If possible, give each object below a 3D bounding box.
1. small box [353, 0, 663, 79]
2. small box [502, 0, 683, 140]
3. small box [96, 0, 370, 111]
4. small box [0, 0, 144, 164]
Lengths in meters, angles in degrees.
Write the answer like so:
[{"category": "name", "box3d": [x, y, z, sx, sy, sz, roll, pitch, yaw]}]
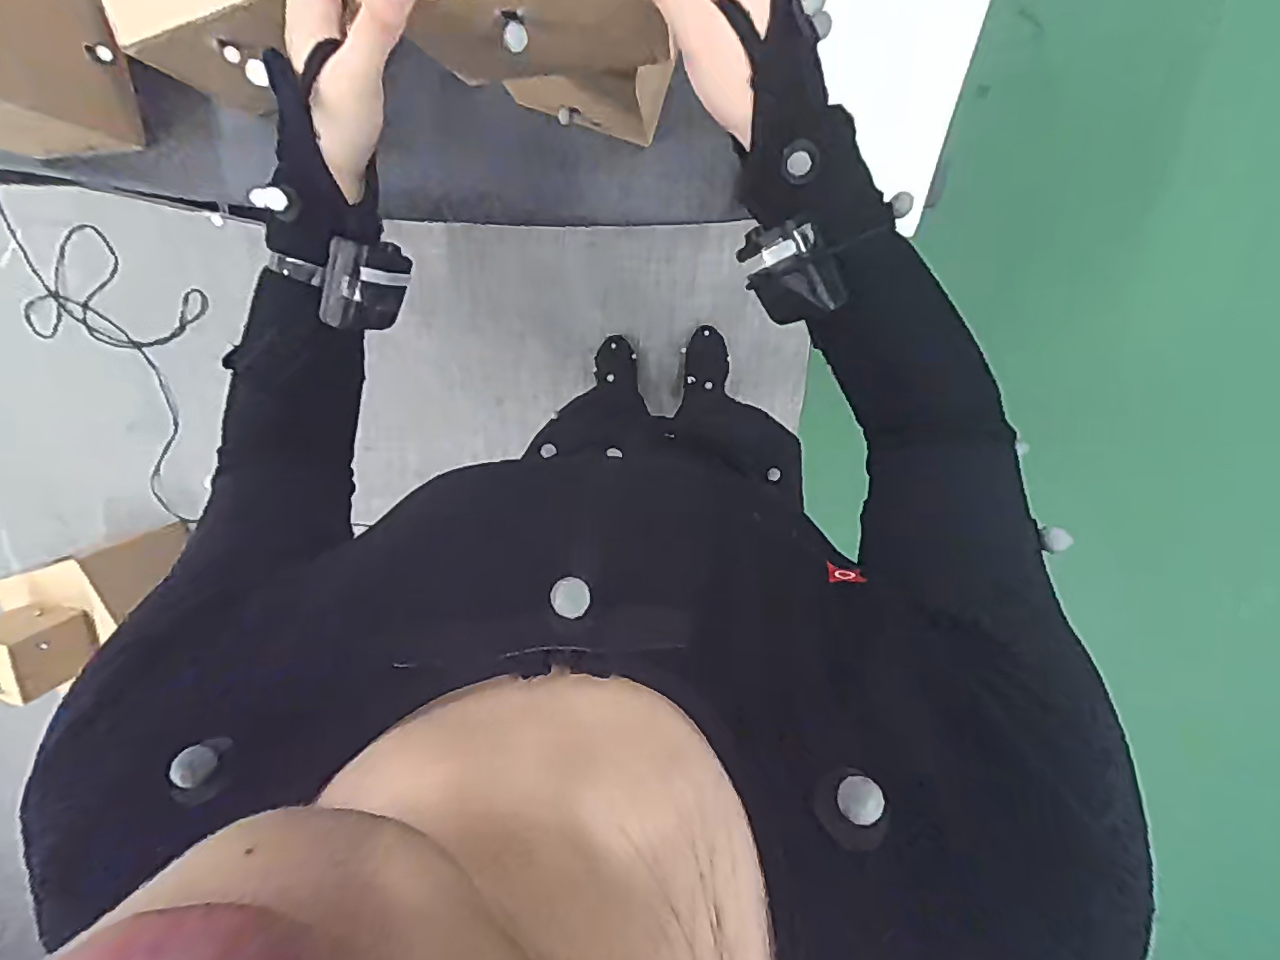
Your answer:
[{"category": "small box", "box3d": [-0.077, -0.381, 0.345, 0.179, 0.176, 0.168, -1, 114, 8]}, {"category": "small box", "box3d": [-0.056, -0.473, 0.526, 0.168, 0.176, 0.179, 19, 107, 1]}, {"category": "small box", "box3d": [-0.423, -0.519, 0.557, 0.179, 0.176, 0.168, -12, 105, 9]}, {"category": "small box", "box3d": [-0.721, -0.477, 0.601, 0.168, 0.176, 0.179, -1, 106, 6]}]
